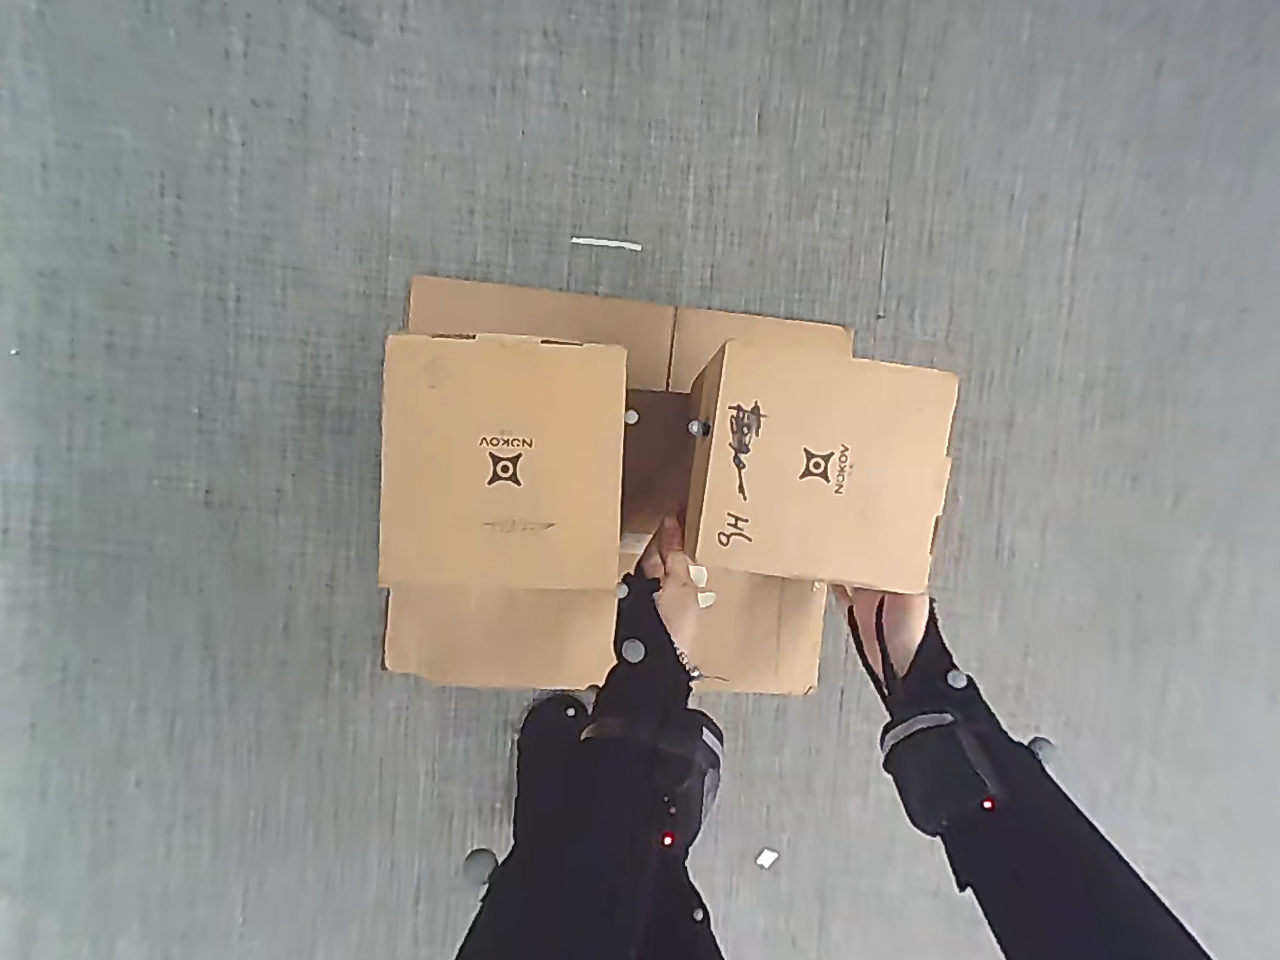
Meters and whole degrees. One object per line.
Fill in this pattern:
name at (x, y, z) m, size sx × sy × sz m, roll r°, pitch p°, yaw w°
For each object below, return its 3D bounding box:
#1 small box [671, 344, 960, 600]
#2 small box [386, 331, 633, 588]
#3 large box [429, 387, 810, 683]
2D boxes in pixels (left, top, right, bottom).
small box at (0.133, -0.006, 0.472) m, size 0.179 × 0.176 × 0.168 m, roll 9°, pitch 90°, yaw -3°
small box at (-0.096, -0.014, 0.454) m, size 0.168 × 0.176 × 0.179 m, roll 1°, pitch 92°, yaw -5°
large box at (-0.028, 0.054, 0.707) m, size 0.408 × 0.320 × 0.320 m, roll 3°, pitch 92°, yaw -6°
